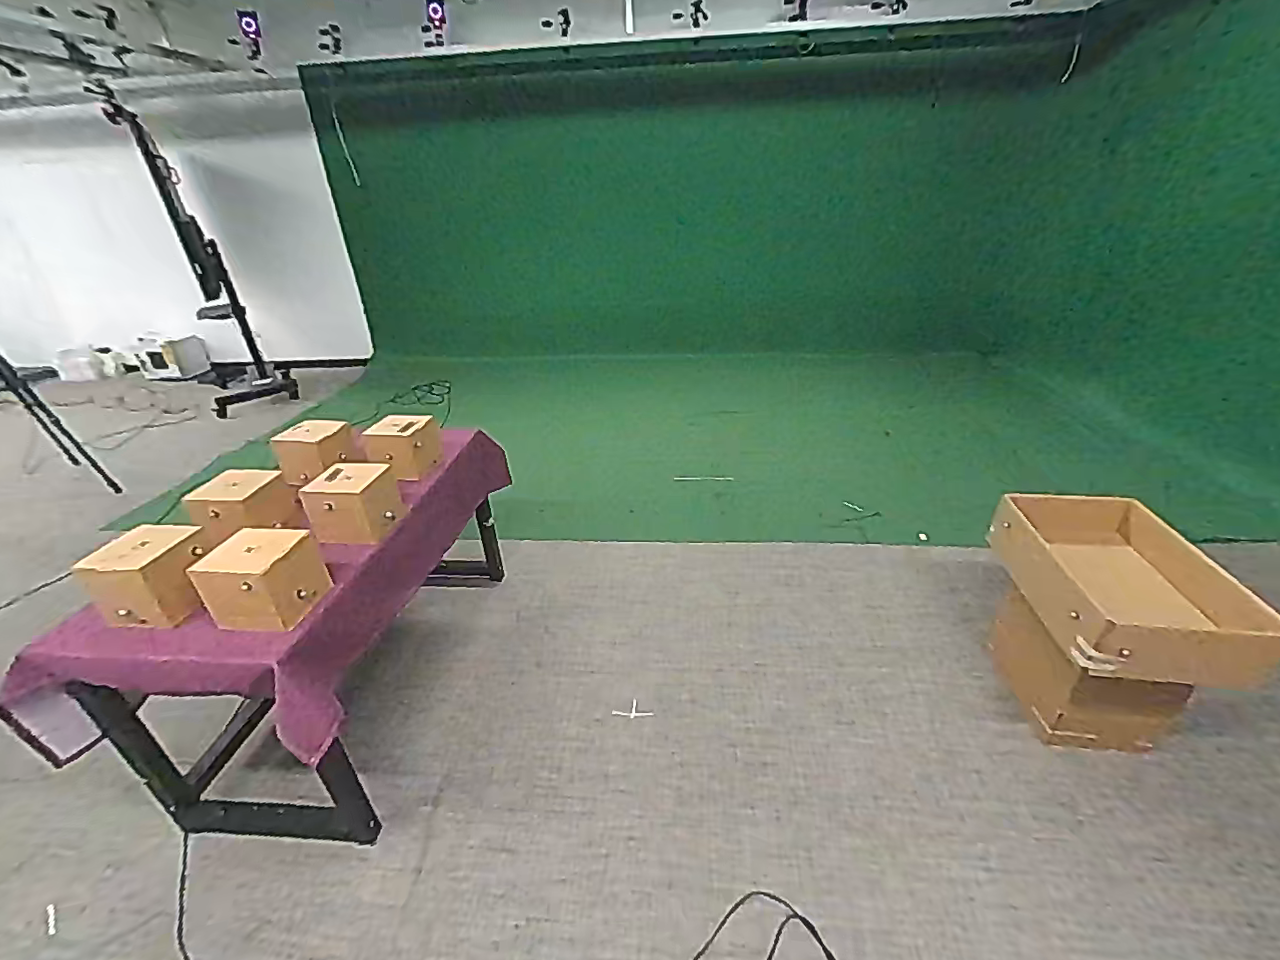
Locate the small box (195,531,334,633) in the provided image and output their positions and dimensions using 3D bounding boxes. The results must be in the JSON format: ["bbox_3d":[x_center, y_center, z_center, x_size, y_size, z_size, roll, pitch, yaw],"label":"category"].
[{"bbox_3d":[-0.850,0.233,1.242,0.179,0.176,0.168,1,28,7],"label":"small box"}]

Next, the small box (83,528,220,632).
[{"bbox_3d":[-1.120,0.231,1.275,0.168,0.176,0.179,0,28,8],"label":"small box"}]

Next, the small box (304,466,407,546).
[{"bbox_3d":[-0.795,0.072,1.528,0.179,0.176,0.168,1,29,8],"label":"small box"}]

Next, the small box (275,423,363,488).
[{"bbox_3d":[-1.080,-0.079,1.838,0.179,0.176,0.168,4,29,12],"label":"small box"}]
